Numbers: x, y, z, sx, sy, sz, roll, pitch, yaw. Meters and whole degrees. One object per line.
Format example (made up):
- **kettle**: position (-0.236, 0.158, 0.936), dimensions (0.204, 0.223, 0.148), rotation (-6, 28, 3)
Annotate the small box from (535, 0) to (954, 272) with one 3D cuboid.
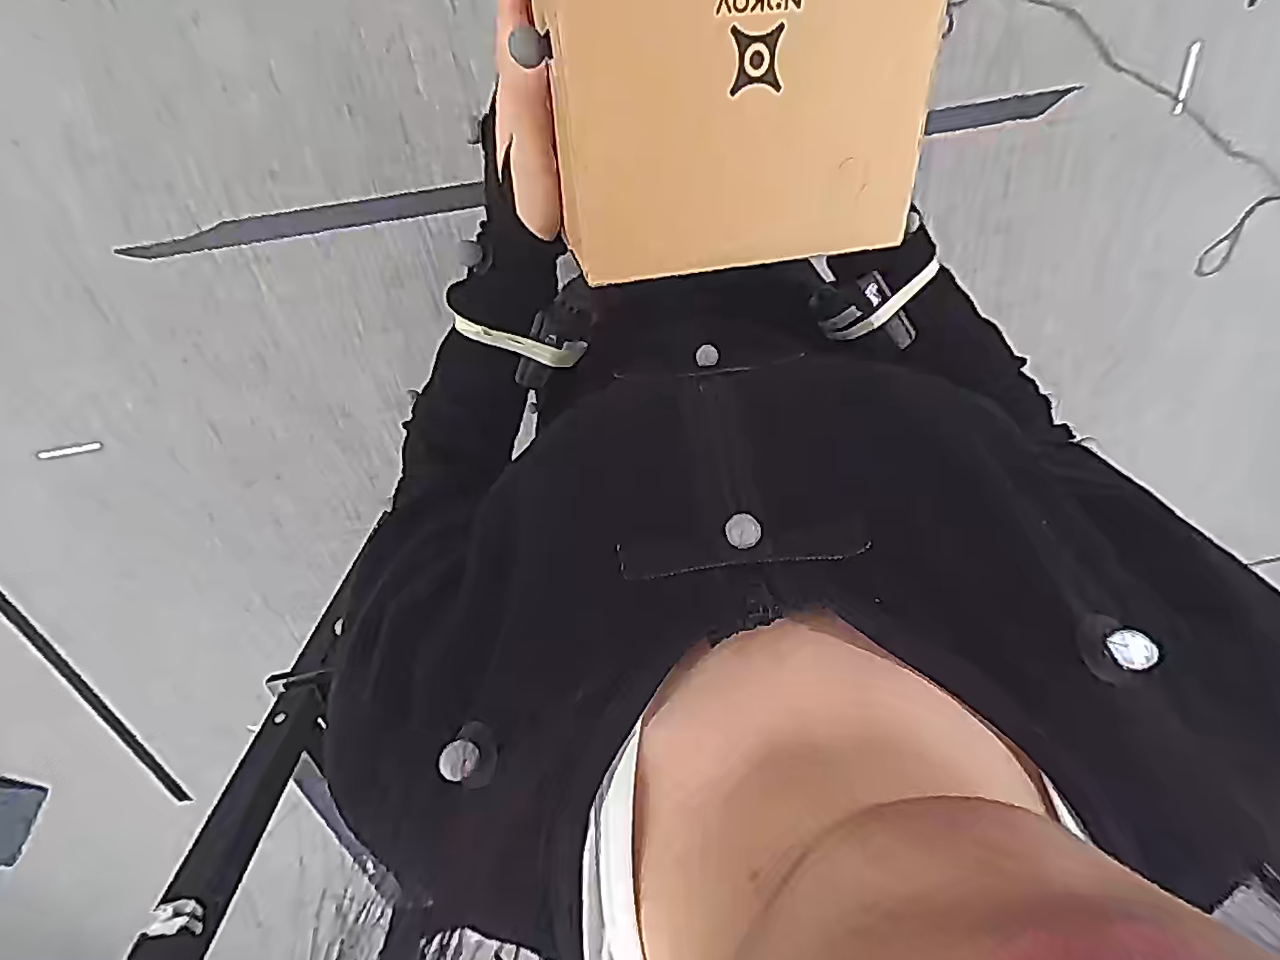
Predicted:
- **small box**: position (0.035, -0.225, 0.283), dimensions (0.168, 0.176, 0.179), rotation (-10, 124, -7)
